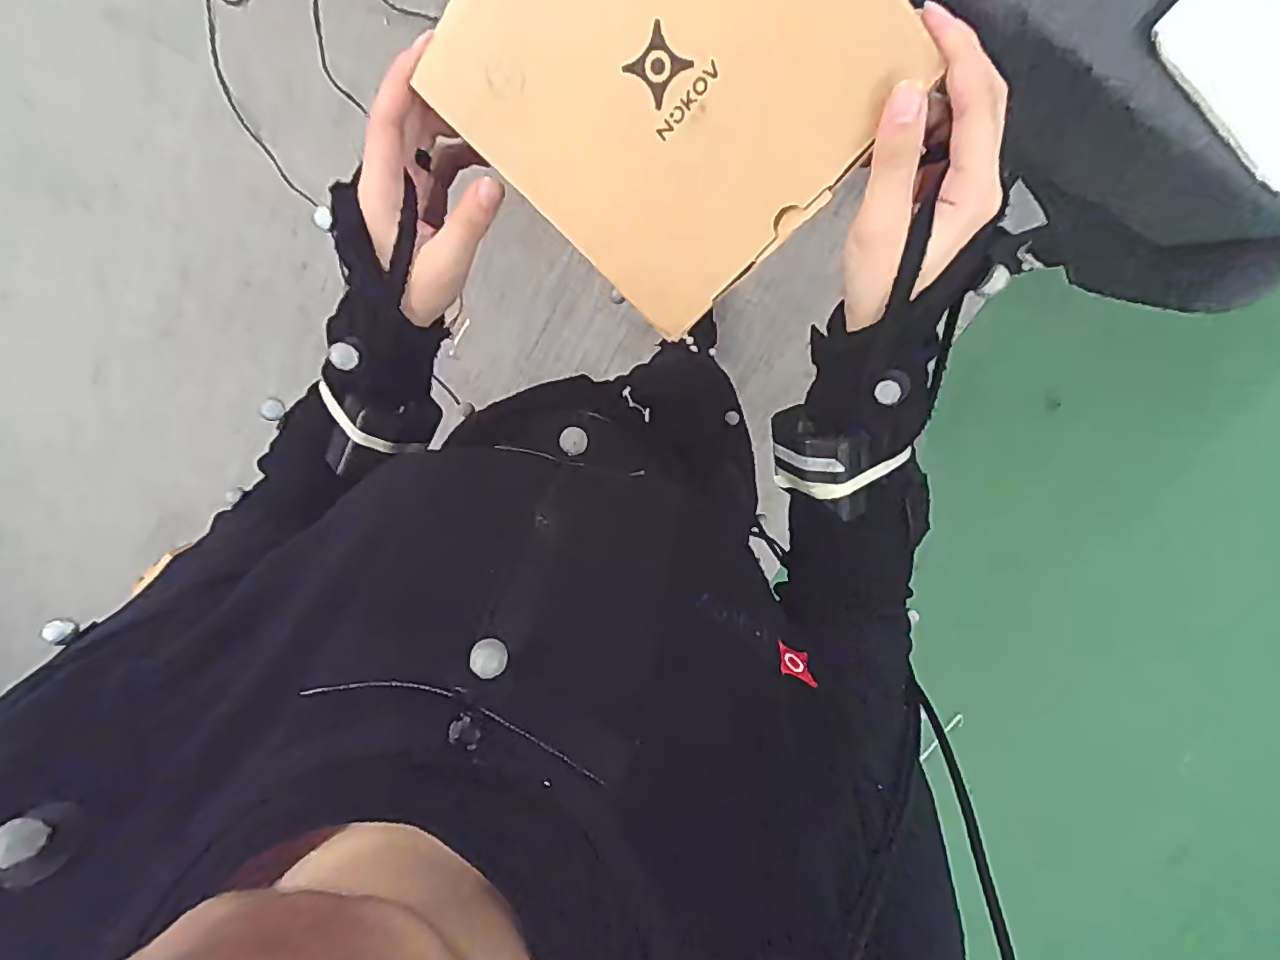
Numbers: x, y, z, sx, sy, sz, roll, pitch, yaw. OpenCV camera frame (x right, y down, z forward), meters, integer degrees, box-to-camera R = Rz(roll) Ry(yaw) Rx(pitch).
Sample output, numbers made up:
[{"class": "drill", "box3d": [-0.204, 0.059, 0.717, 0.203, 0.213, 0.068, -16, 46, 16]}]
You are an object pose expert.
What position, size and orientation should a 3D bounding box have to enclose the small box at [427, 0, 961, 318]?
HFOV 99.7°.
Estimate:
[{"class": "small box", "box3d": [0.027, -0.228, 0.302, 0.179, 0.176, 0.168, 40, 120, -17]}]
